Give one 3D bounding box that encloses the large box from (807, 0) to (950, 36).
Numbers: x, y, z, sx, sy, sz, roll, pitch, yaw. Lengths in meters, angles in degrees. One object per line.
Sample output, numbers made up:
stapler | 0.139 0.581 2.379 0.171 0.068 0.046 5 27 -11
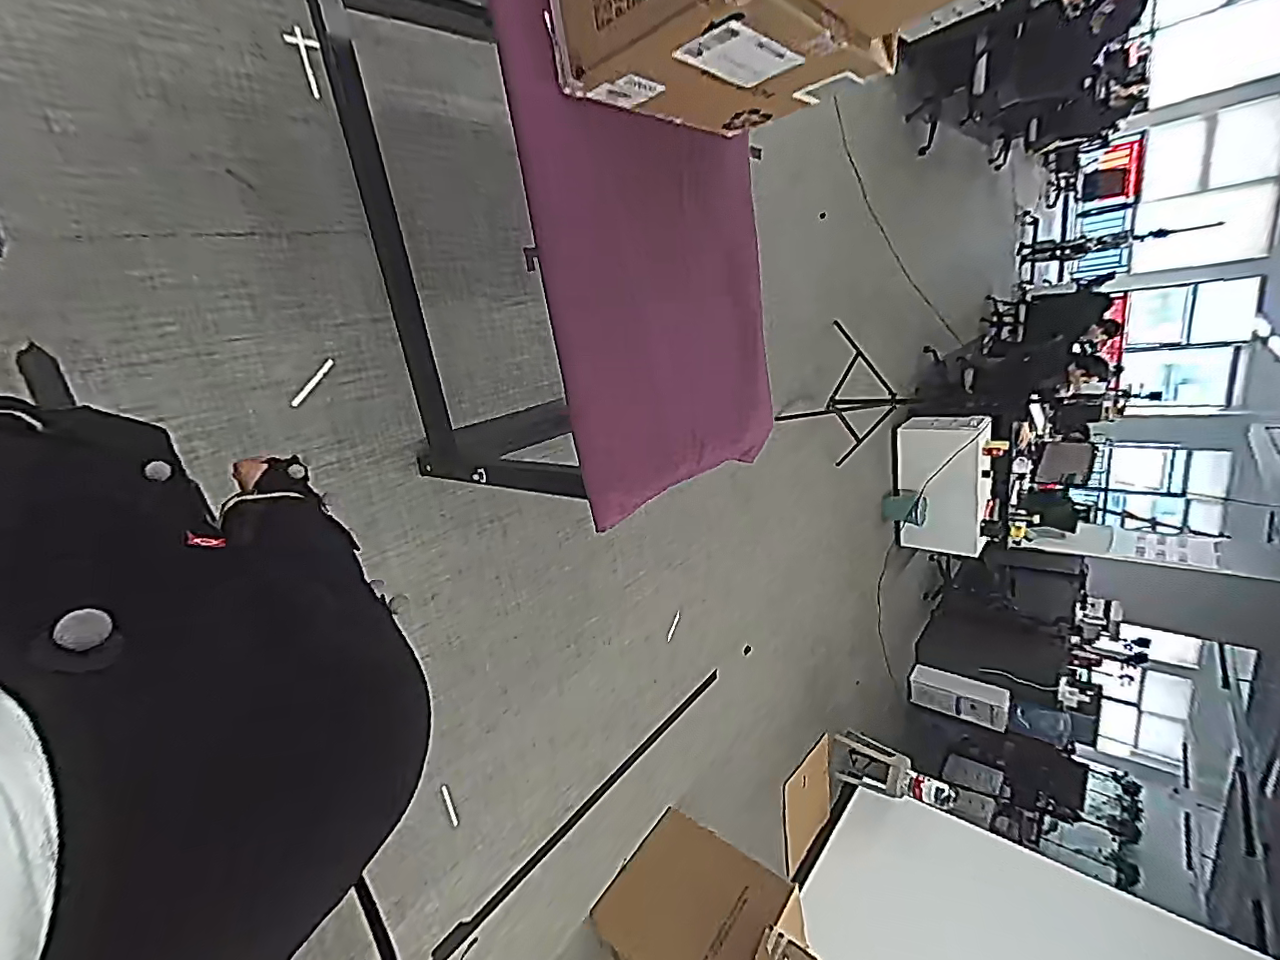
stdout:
large box | 0.334 -0.785 0.609 0.408 0.320 0.320 -26 112 -43
